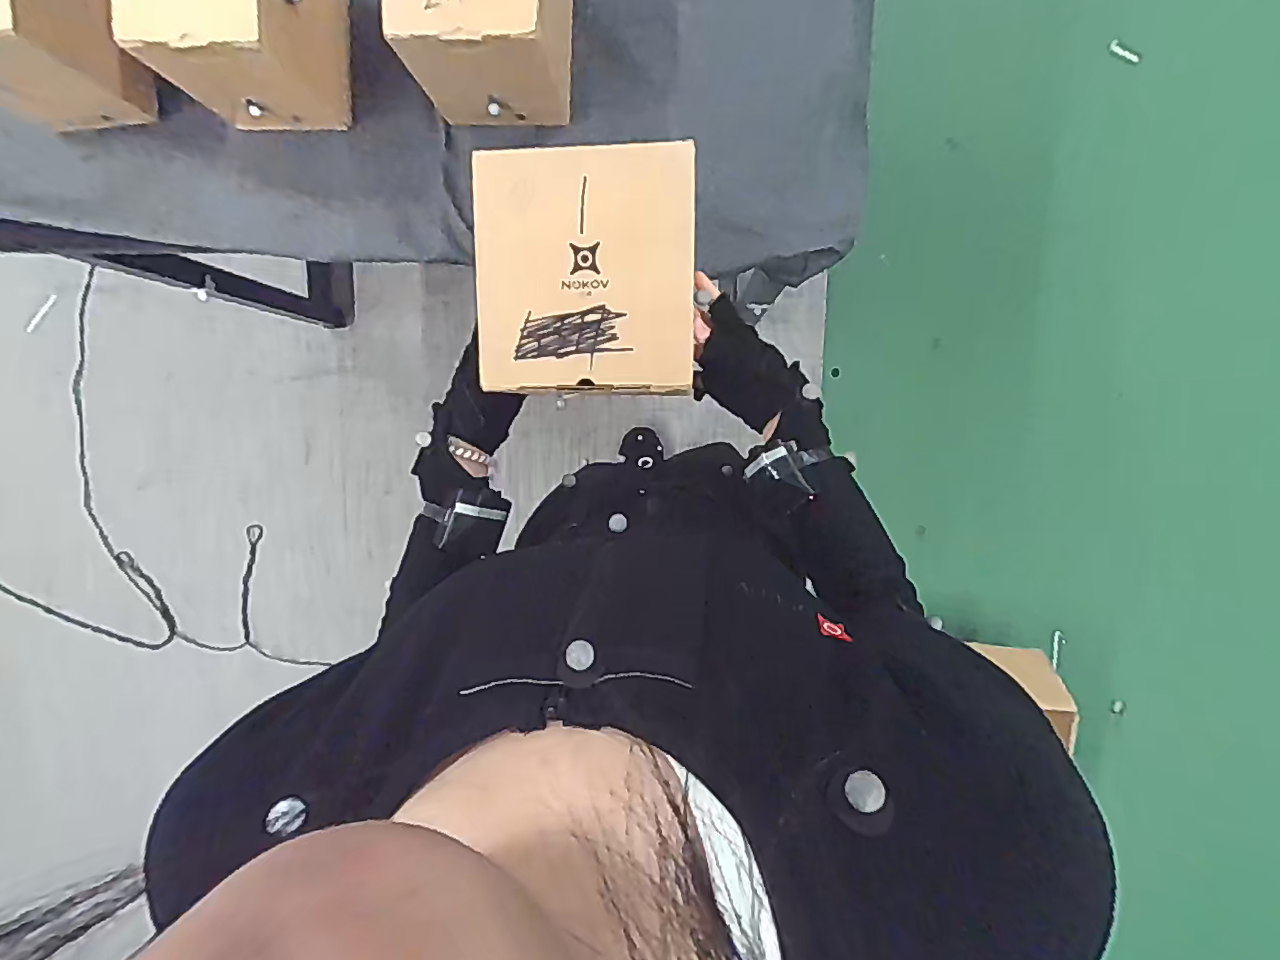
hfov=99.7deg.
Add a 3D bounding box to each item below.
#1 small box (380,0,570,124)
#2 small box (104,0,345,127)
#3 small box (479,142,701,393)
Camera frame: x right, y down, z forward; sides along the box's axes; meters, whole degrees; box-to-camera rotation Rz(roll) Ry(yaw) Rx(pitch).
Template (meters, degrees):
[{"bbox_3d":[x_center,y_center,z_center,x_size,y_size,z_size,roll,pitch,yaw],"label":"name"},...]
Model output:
[{"bbox_3d":[-0.178,-0.552,0.625,0.168,0.176,0.179,3,96,3],"label":"small box"},{"bbox_3d":[-0.476,-0.558,0.642,0.168,0.176,0.179,2,97,2],"label":"small box"},{"bbox_3d":[-0.032,-0.167,0.481,0.168,0.176,0.179,1,97,4],"label":"small box"}]
